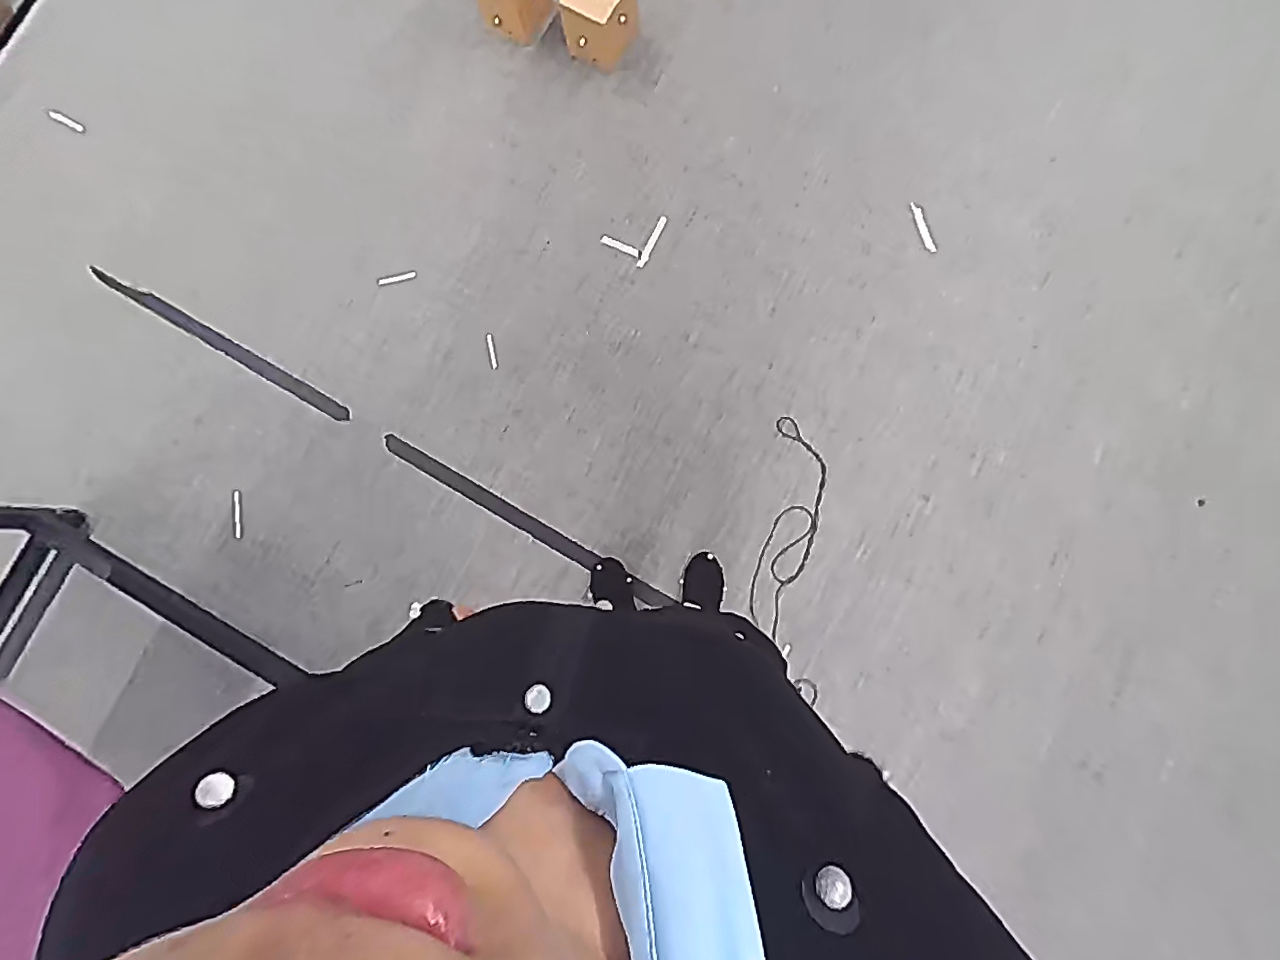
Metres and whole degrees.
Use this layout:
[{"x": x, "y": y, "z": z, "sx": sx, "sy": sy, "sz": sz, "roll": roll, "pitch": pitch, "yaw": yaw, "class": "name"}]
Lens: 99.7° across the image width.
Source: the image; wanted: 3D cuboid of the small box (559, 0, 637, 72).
[{"x": -0.119, "y": -1.405, "z": 1.648, "sx": 0.168, "sy": 0.176, "sz": 0.179, "roll": 32, "pitch": 86, "yaw": 7, "class": "small box"}]

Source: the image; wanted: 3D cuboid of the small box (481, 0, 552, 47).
[{"x": -0.392, "y": -1.523, "z": 1.688, "sx": 0.168, "sy": 0.176, "sz": 0.179, "roll": 31, "pitch": 86, "yaw": 8, "class": "small box"}]
